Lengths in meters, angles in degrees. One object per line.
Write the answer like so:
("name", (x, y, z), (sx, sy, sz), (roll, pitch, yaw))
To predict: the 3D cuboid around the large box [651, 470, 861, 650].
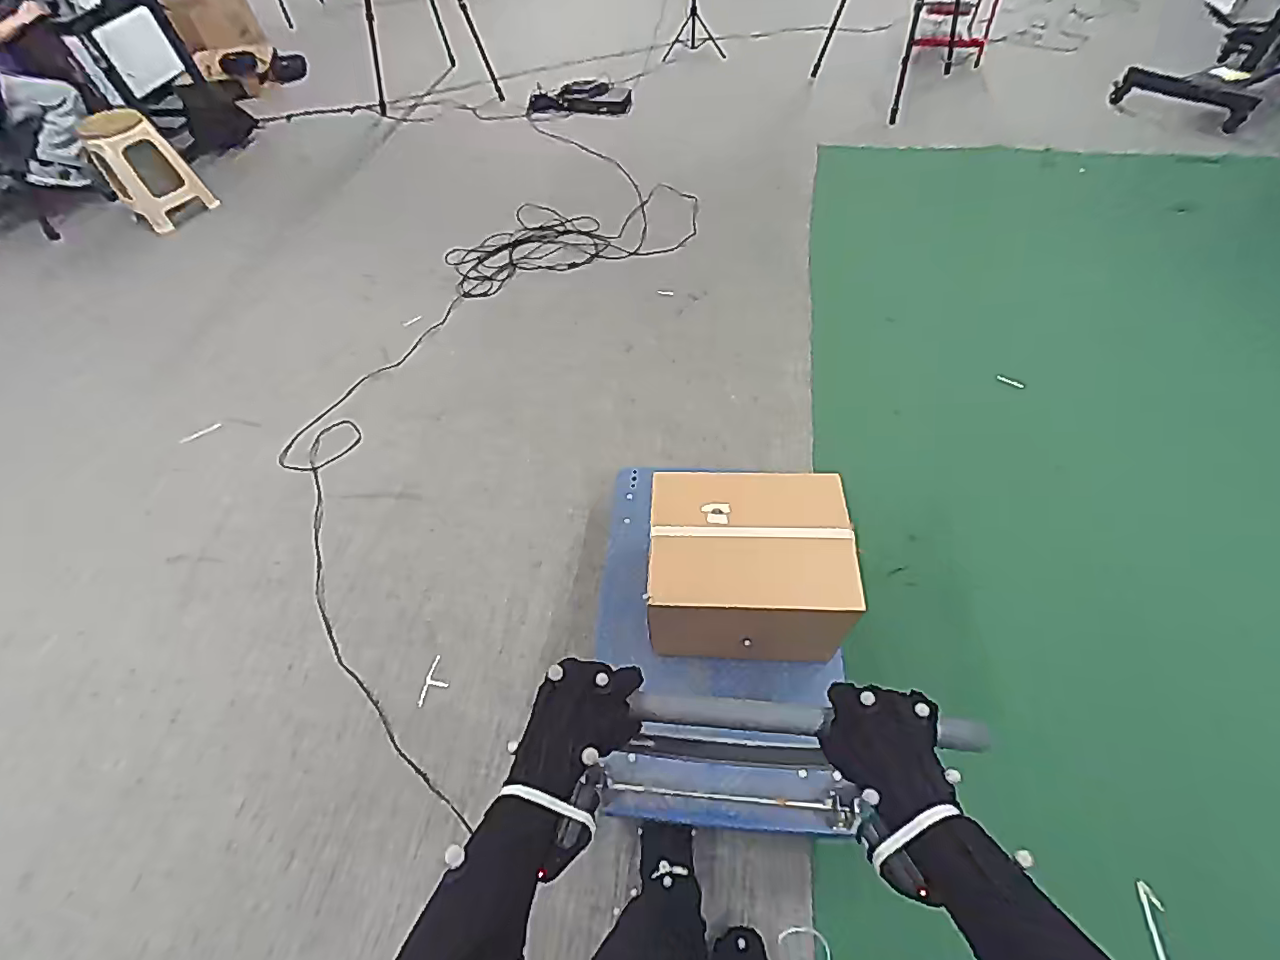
("large box", (0.237, 0.193, 1.233), (0.408, 0.320, 0.320), (-1, 55, 5))
